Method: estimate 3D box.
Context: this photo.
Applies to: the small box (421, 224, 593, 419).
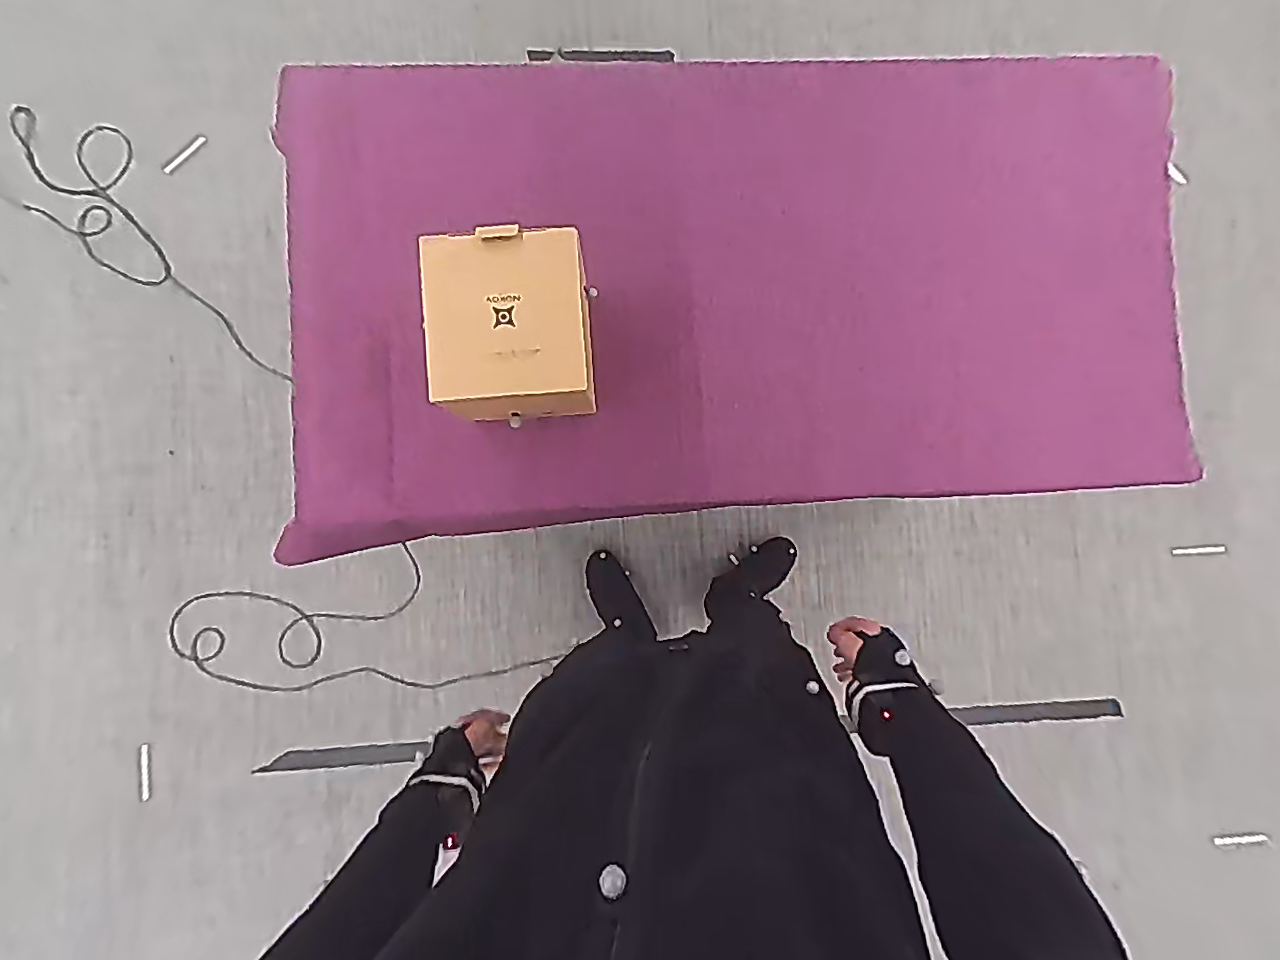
[{"bbox_3d":[-0.143,-0.172,0.632,0.168,0.176,0.179,-3,89,-2],"label":"small box"}]
